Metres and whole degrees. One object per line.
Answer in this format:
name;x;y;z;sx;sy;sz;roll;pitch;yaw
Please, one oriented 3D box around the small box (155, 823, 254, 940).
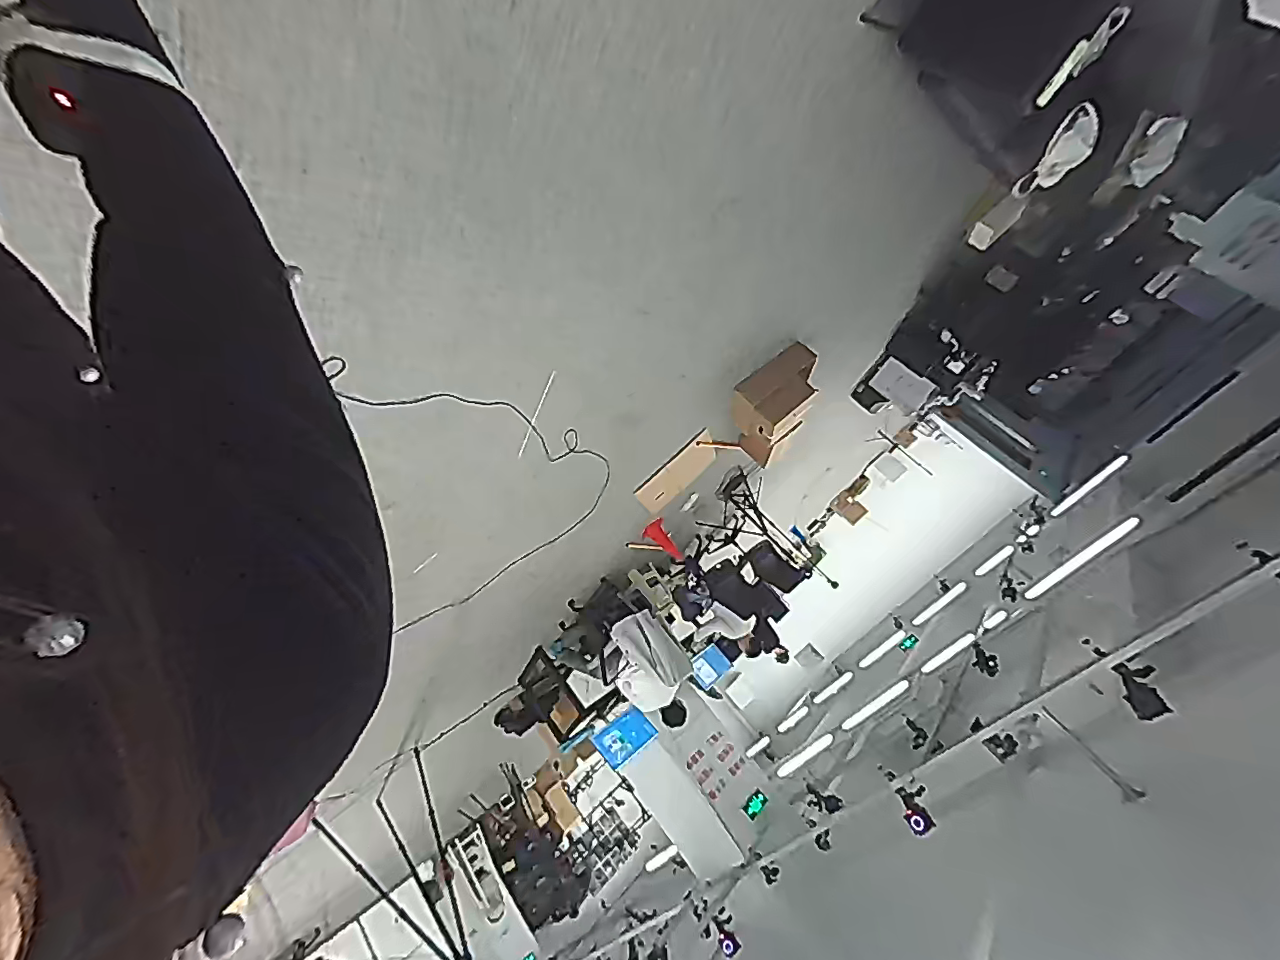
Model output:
small box;-1.141;1.045;1.418;0.168;0.176;0.179;-17;148;-48
